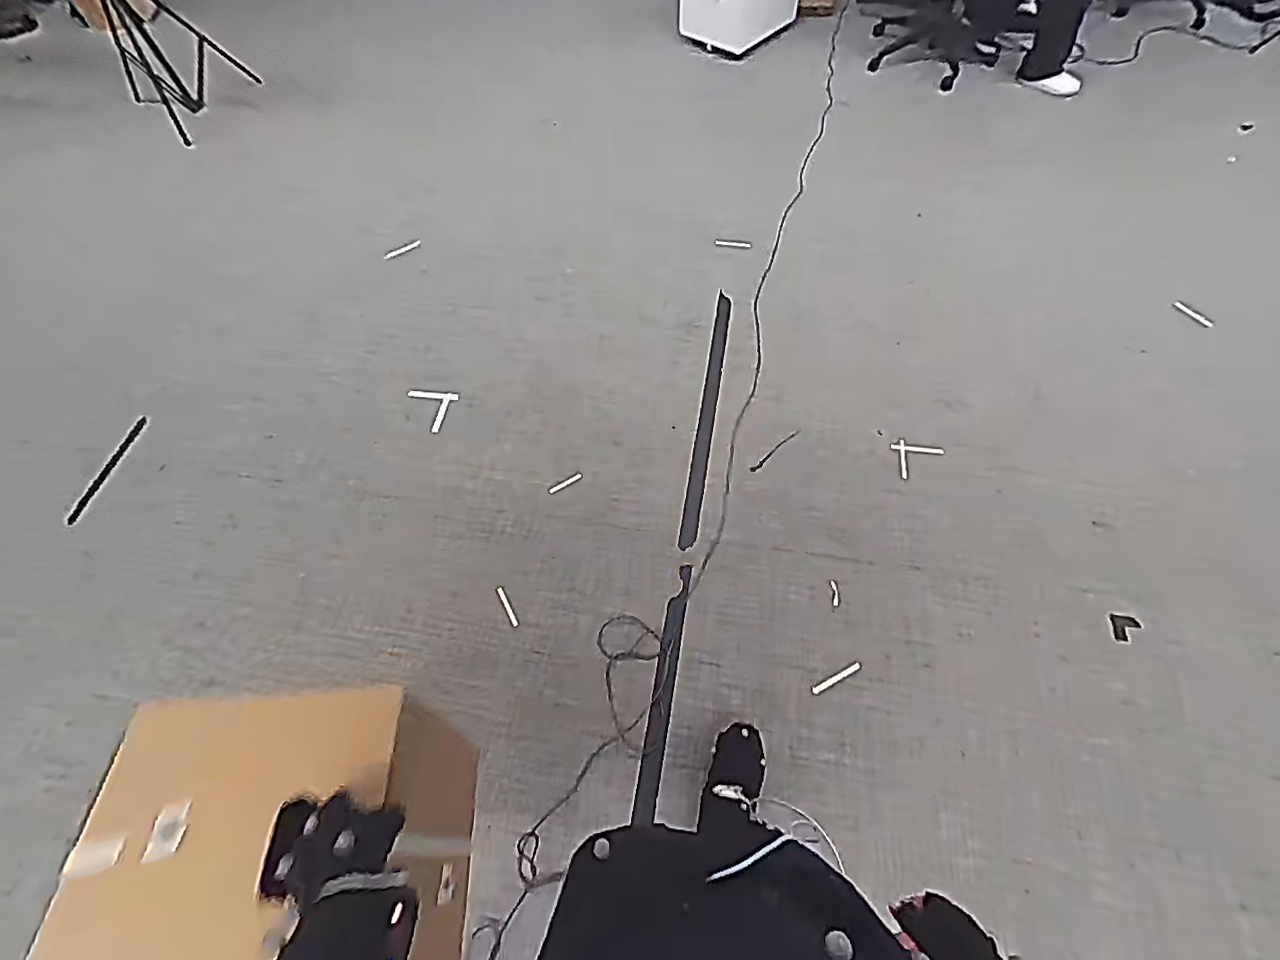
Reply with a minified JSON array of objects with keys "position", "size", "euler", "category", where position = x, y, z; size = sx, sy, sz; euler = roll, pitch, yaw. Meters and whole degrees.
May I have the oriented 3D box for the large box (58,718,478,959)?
[{"position":[-0.421,0.531,0.712],"size":[0.320,0.408,0.320],"euler":[-4,55,-4],"category":"large box"}]
